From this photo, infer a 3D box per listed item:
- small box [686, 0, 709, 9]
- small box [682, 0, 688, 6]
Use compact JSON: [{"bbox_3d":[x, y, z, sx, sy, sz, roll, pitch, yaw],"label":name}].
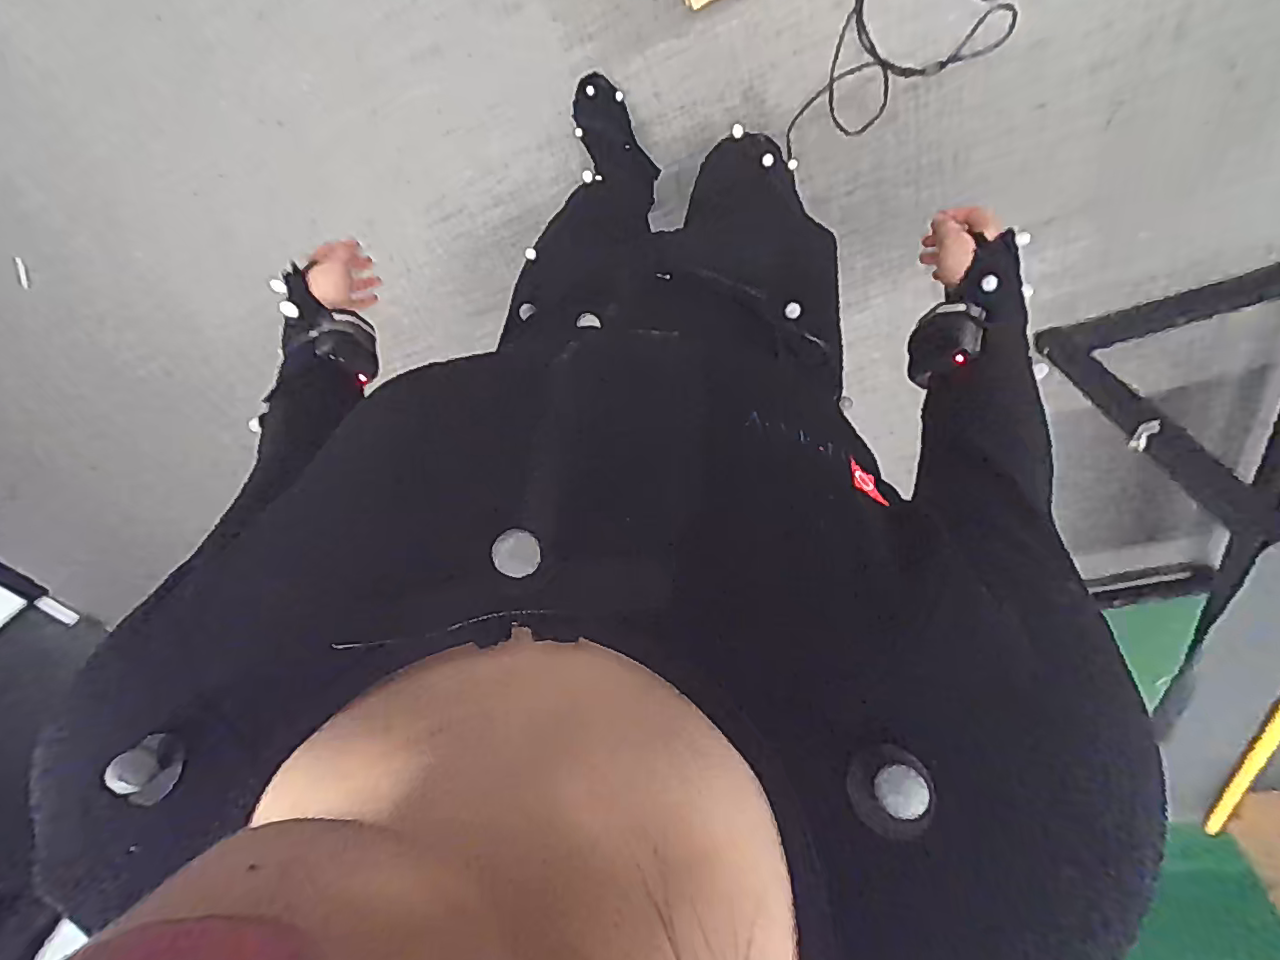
[{"bbox_3d":[0.113,-0.815,0.763,0.168,0.176,0.179,-19,126,20],"label":"small box"},{"bbox_3d":[0.118,-0.926,0.885,0.168,0.176,0.179,-18,126,20],"label":"small box"}]
